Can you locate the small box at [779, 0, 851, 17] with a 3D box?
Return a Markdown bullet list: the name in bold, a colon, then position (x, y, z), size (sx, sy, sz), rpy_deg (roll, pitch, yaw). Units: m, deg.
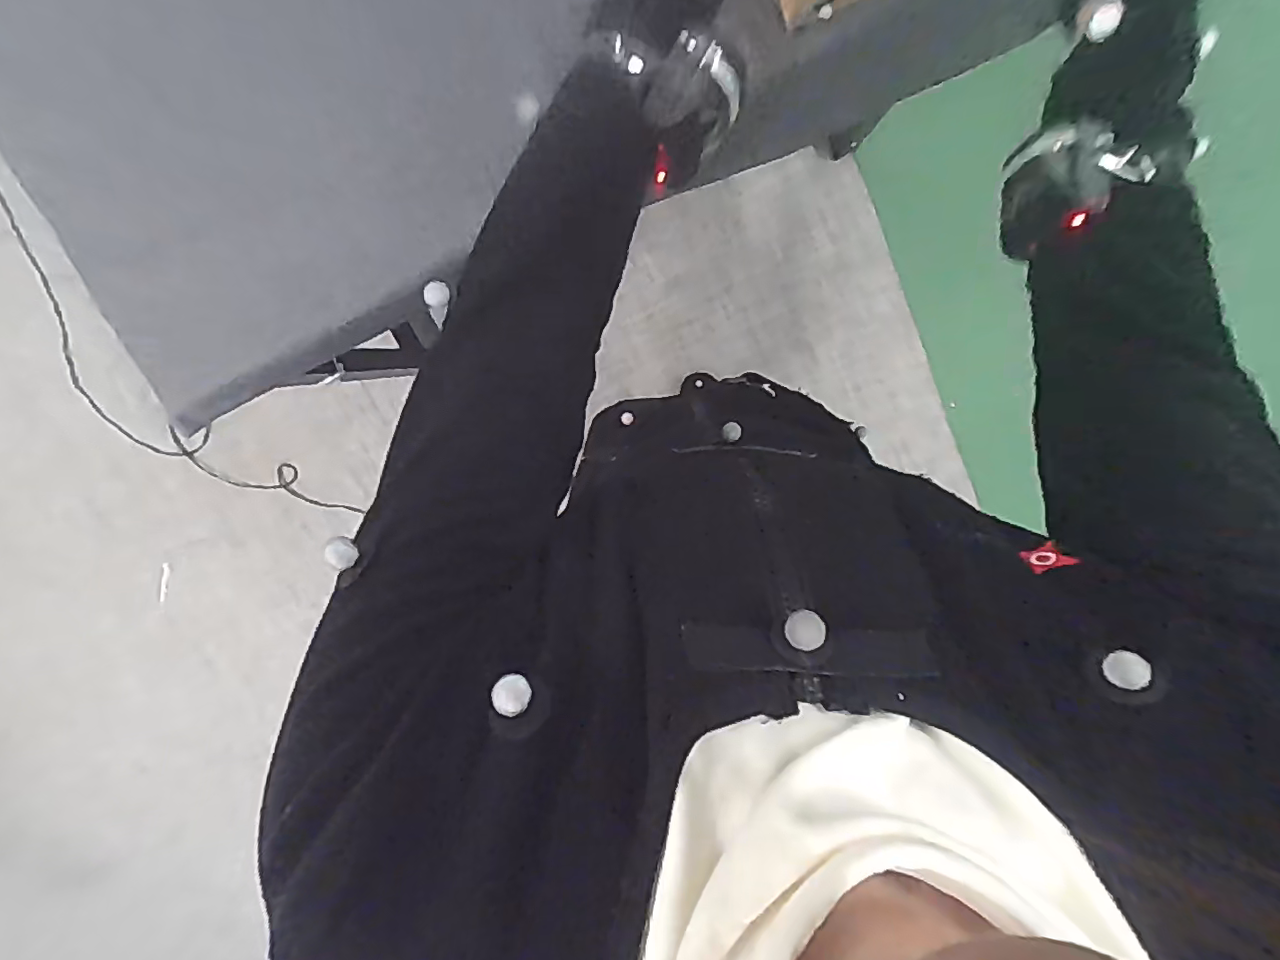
- **small box**: position (0.202, -0.566, 0.480), size (0.168, 0.176, 0.179), rpy_deg (-16, 99, 8)
